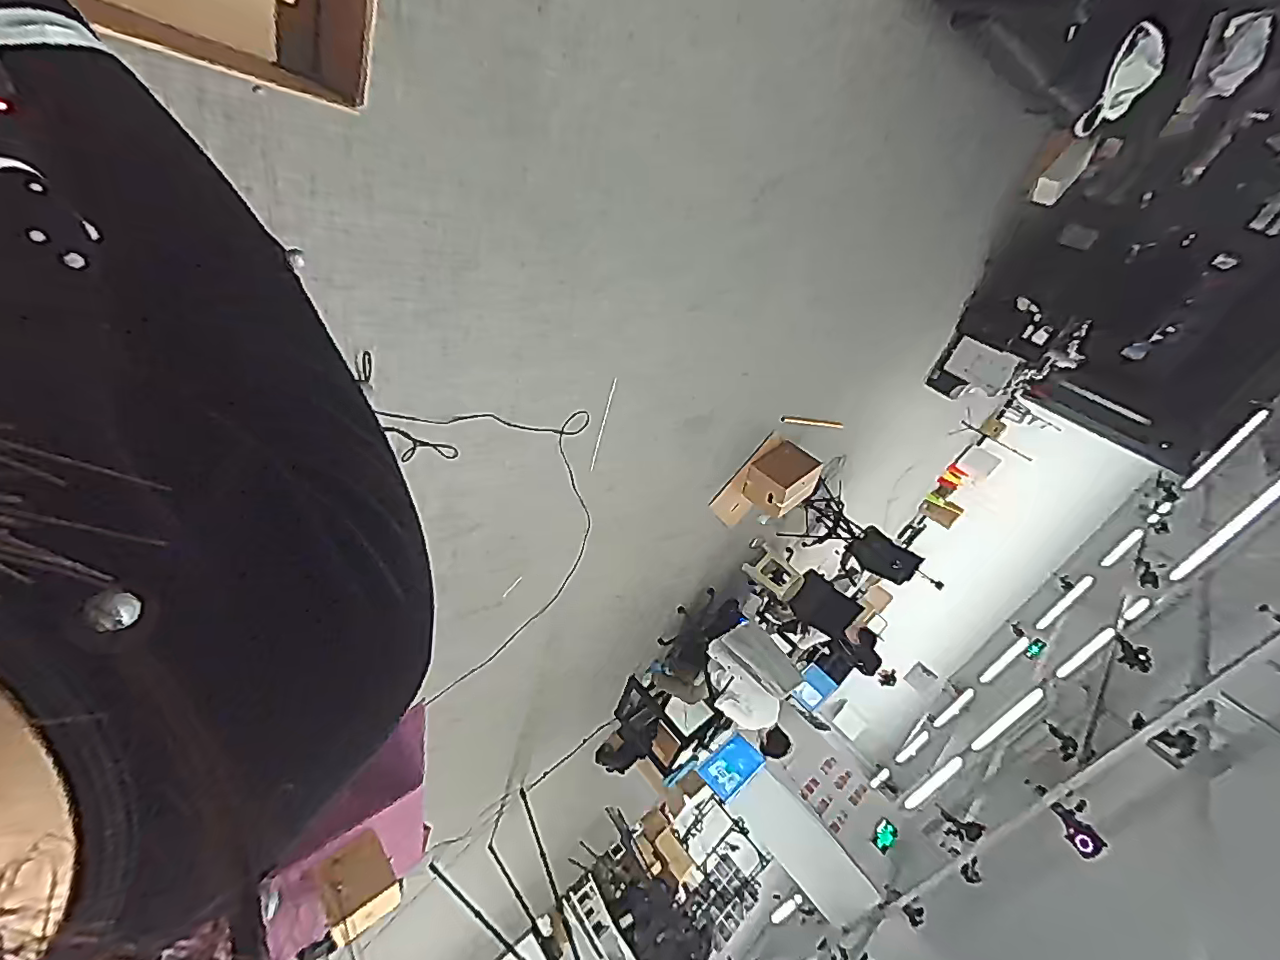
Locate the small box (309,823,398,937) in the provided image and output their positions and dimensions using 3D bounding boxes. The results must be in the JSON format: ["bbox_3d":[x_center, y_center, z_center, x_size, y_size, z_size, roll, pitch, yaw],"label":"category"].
[{"bbox_3d":[-0.778,1.081,1.473,0.168,0.176,0.179,-21,141,-39],"label":"small box"}]
